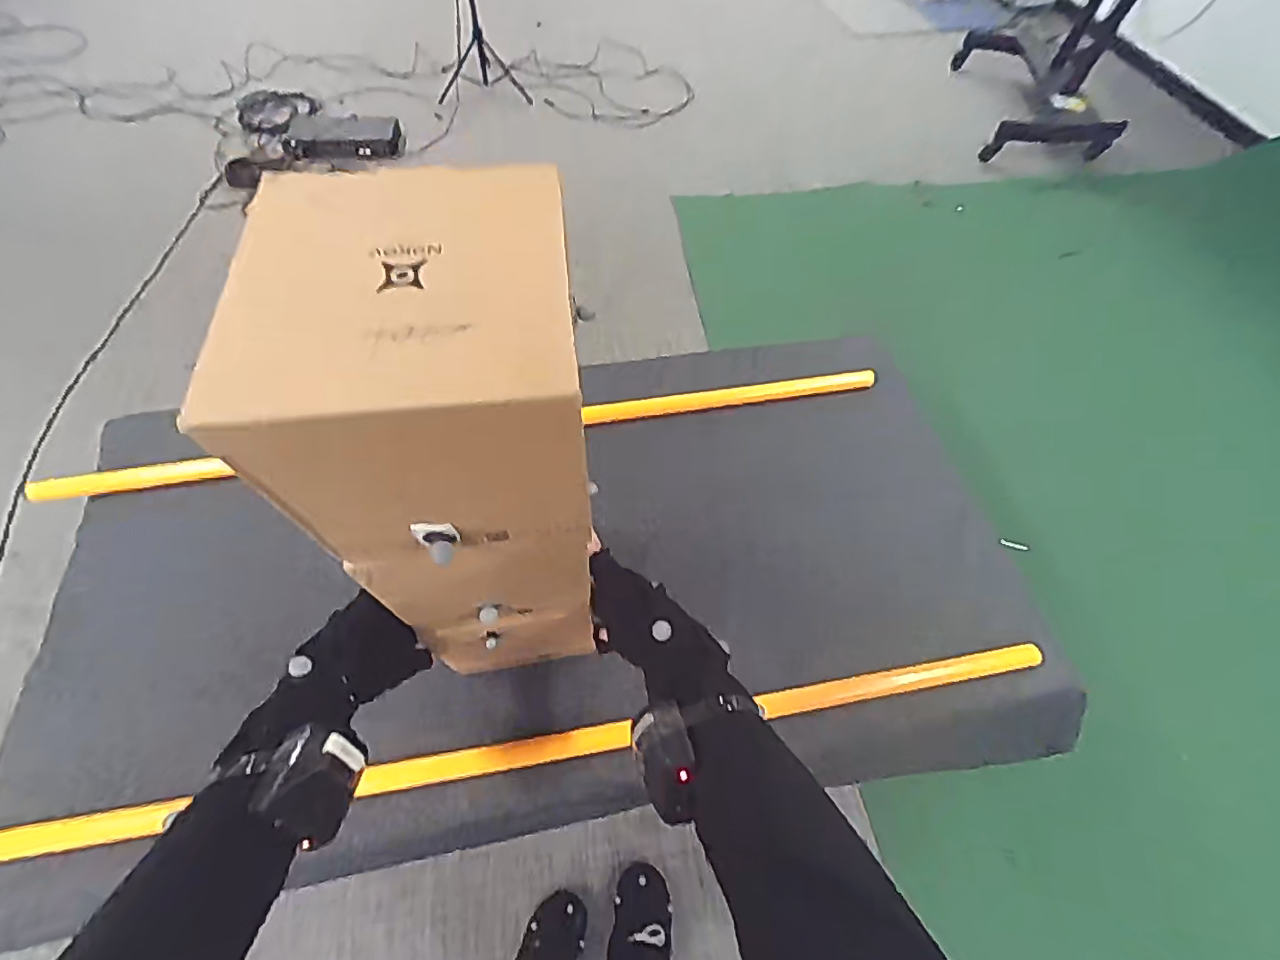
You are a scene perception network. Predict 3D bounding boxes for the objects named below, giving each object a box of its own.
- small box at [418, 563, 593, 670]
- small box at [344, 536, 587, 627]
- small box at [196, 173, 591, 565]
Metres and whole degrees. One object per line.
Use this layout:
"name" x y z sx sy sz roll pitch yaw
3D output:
"small box" -0.146 0.104 0.626 0.168 0.176 0.179 -7 61 -7
"small box" -0.137 0.017 0.485 0.168 0.176 0.179 -5 61 -7
"small box" -0.121 -0.063 0.345 0.168 0.176 0.179 -6 62 -5
